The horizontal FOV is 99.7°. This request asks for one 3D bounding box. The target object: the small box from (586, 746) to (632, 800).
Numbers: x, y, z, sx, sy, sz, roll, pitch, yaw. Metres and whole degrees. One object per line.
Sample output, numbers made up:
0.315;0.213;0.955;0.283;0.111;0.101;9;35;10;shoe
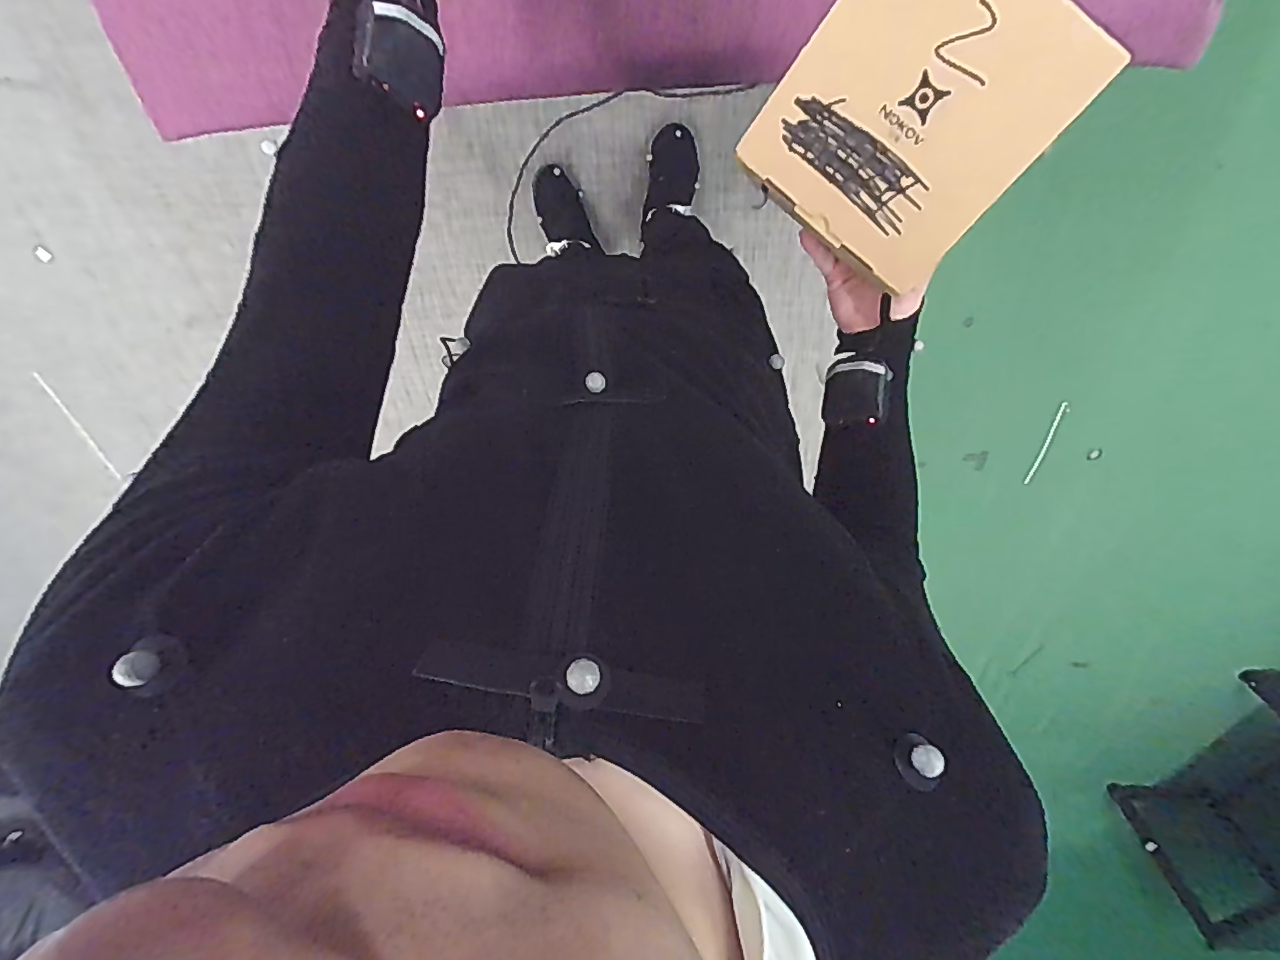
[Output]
-0.116;1.153;2.087;0.168;0.176;0.179;0;125;0;small box
